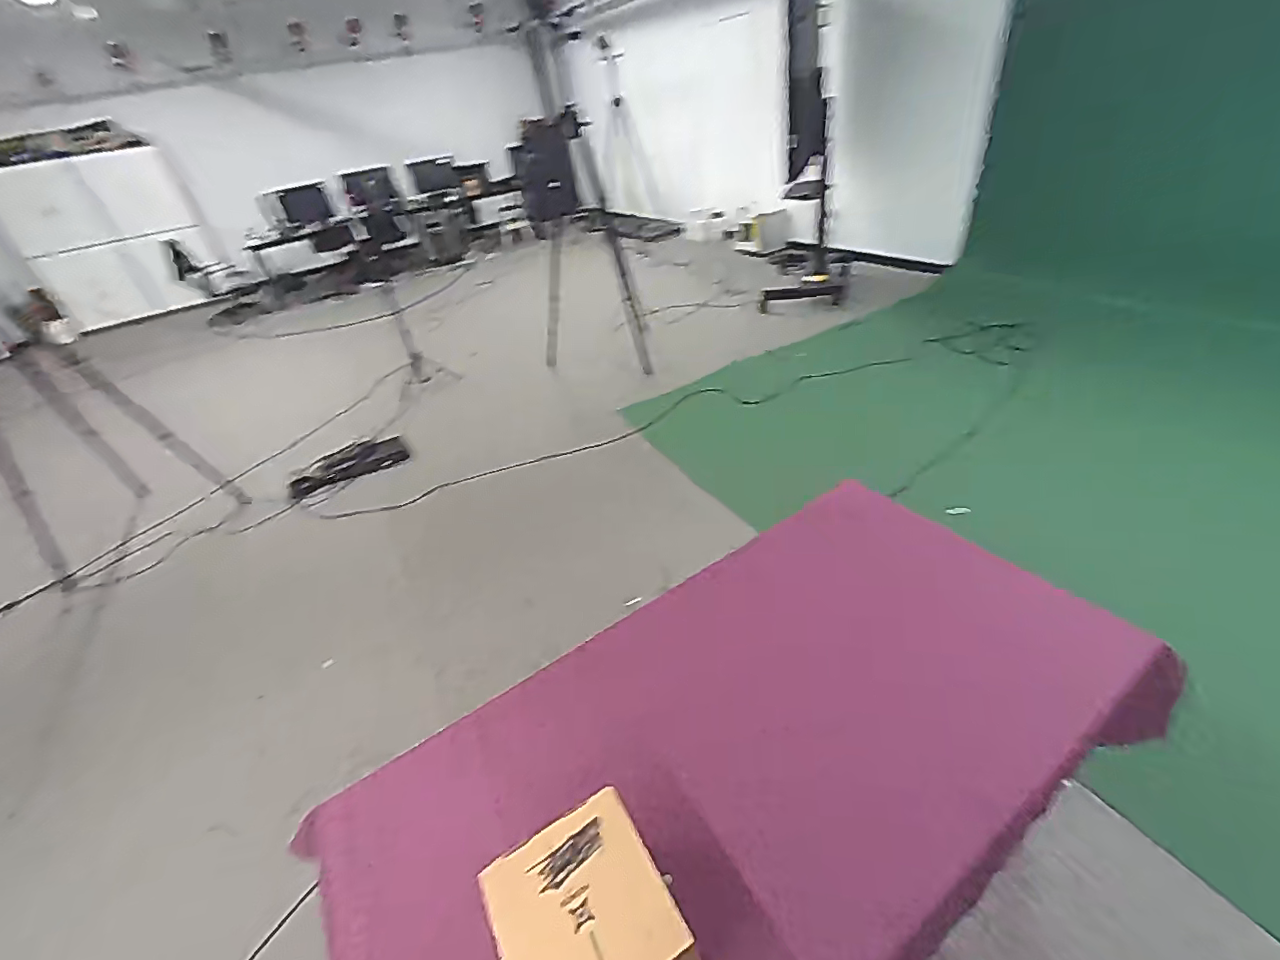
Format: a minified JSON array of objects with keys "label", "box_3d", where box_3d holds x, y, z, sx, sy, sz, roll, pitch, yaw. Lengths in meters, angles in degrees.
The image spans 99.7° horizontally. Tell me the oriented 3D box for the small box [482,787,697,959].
[{"label":"small box","box_3d":[-0.050,0.495,0.594,0.168,0.176,0.179,-26,39,-20]}]
